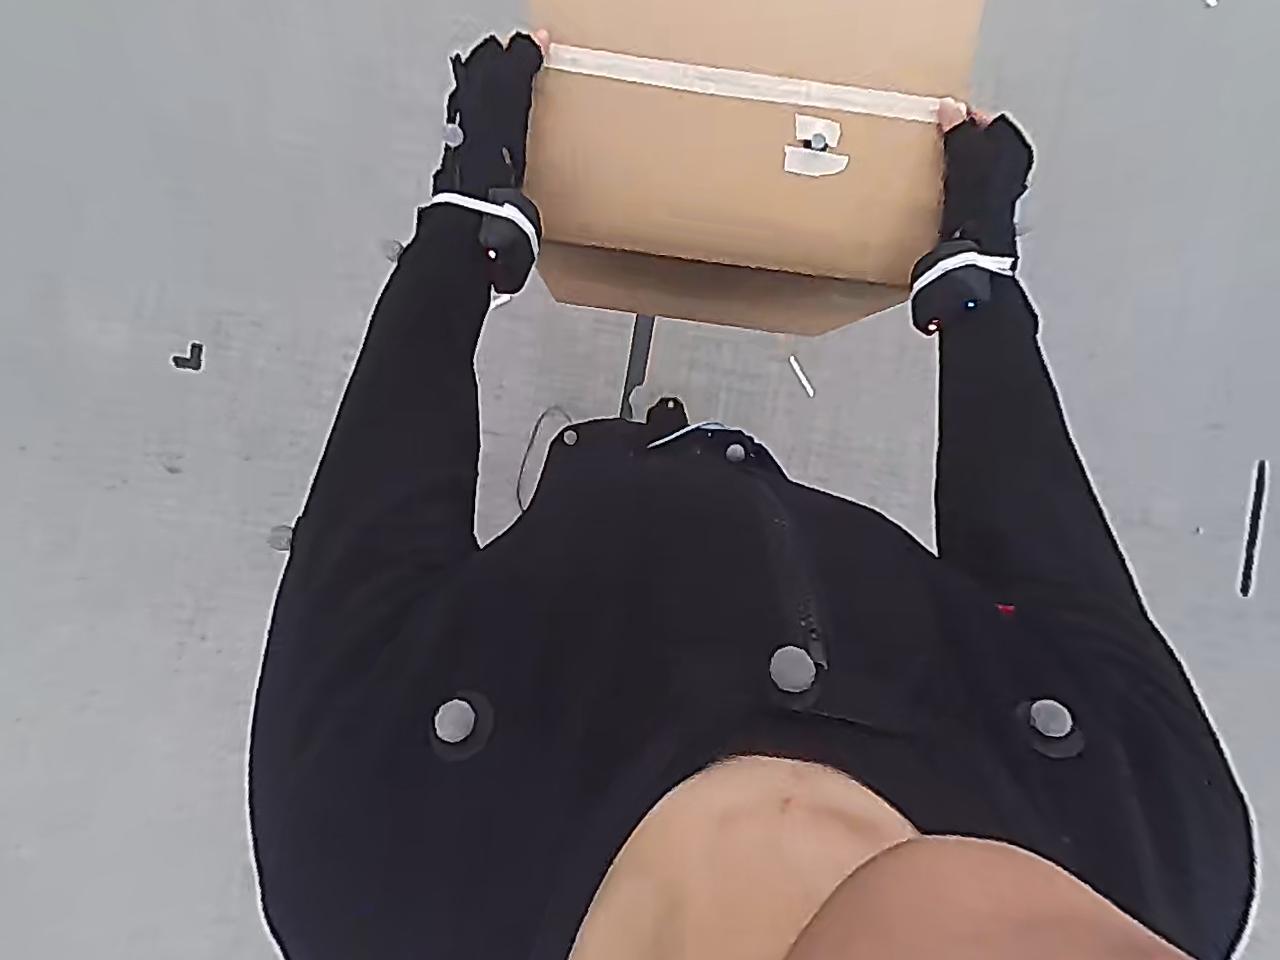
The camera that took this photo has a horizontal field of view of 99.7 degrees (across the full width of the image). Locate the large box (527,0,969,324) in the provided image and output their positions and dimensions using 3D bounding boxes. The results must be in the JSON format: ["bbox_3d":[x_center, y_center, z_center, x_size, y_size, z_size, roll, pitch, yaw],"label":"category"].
[{"bbox_3d":[0.093,-0.388,0.654,0.408,0.320,0.320,6,97,-3],"label":"large box"}]
